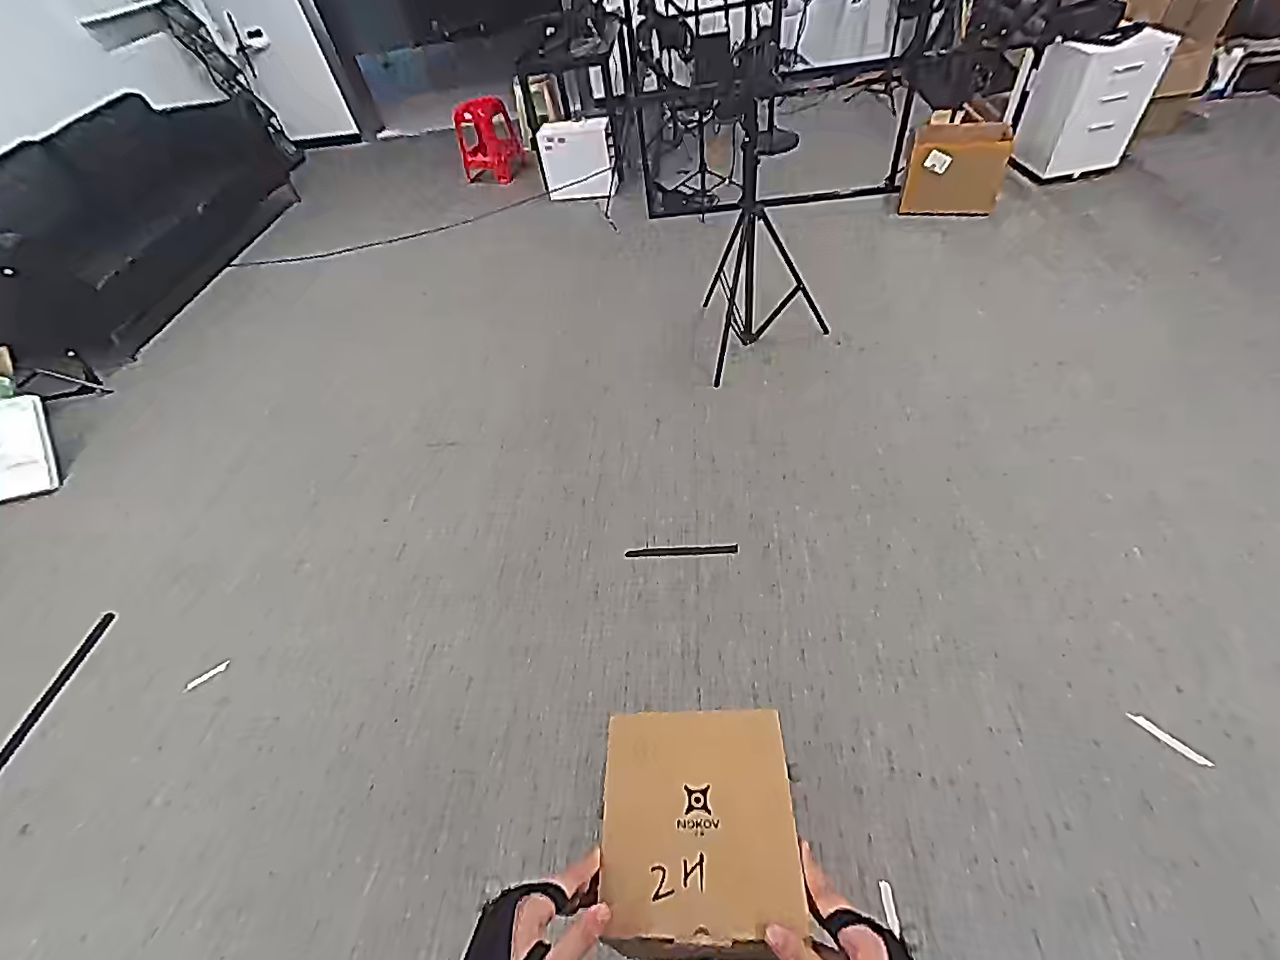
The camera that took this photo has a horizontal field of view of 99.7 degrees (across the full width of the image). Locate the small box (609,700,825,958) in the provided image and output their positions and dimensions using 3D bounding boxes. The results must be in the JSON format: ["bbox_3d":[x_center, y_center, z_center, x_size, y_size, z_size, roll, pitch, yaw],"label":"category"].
[{"bbox_3d":[0.070,0.333,0.520,0.168,0.176,0.179,-5,44,7],"label":"small box"}]
